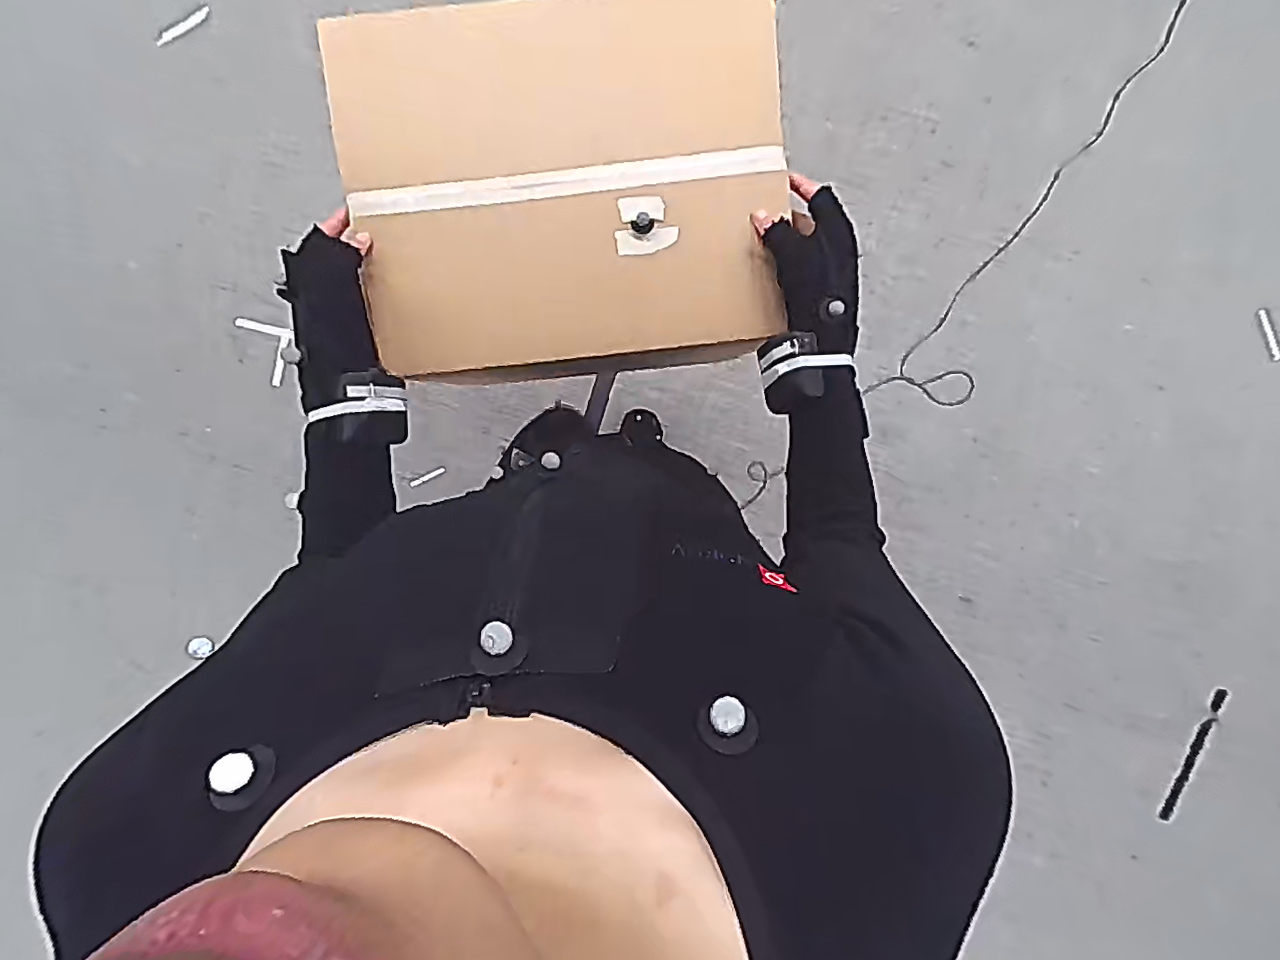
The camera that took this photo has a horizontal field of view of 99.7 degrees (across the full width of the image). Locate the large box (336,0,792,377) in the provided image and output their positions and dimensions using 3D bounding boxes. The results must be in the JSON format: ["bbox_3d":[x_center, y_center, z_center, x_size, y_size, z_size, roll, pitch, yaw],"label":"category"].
[{"bbox_3d":[-0.068,-0.309,0.656,0.408,0.320,0.320,-6,99,0],"label":"large box"}]
